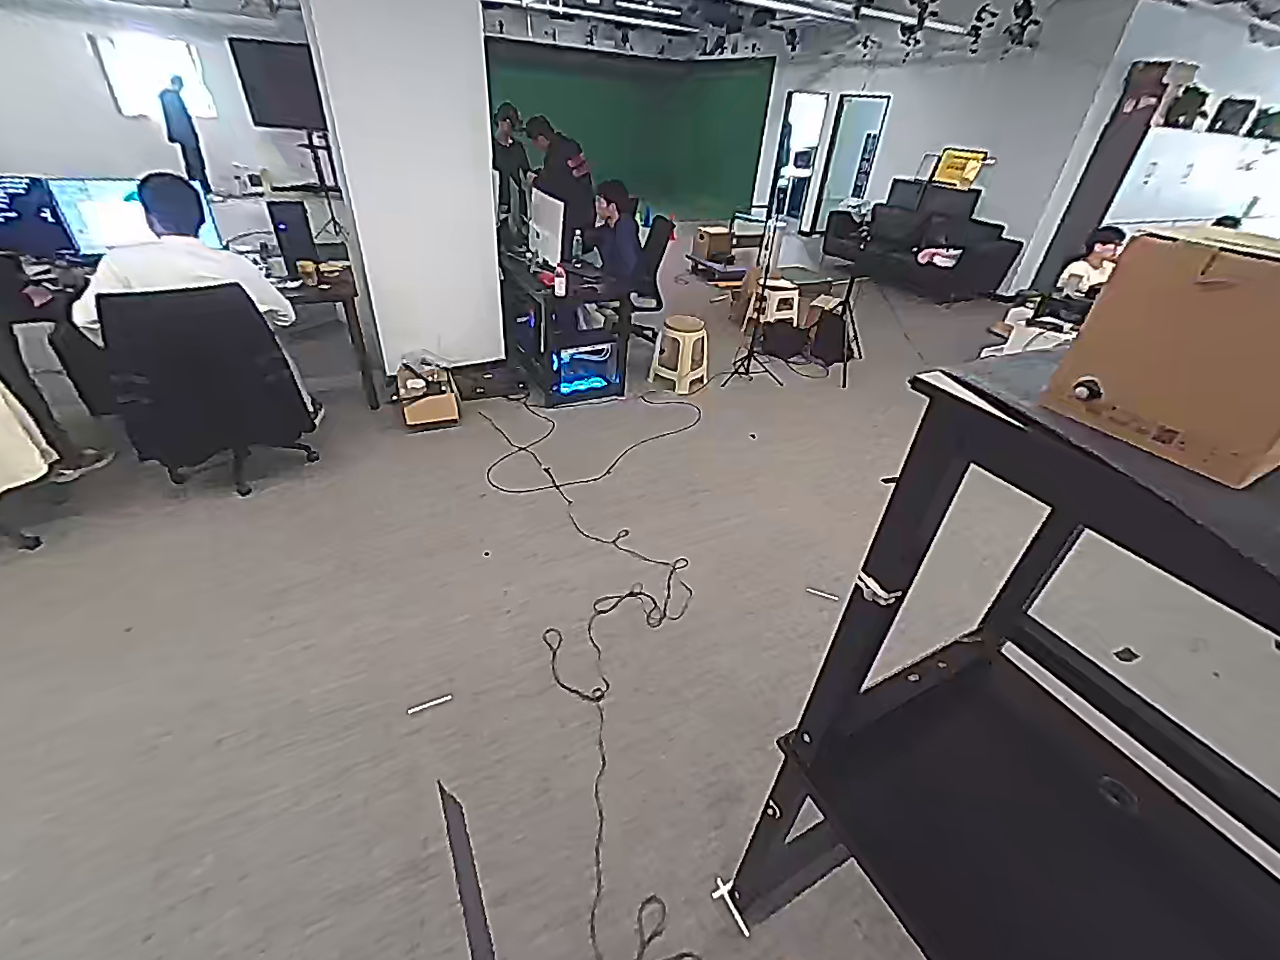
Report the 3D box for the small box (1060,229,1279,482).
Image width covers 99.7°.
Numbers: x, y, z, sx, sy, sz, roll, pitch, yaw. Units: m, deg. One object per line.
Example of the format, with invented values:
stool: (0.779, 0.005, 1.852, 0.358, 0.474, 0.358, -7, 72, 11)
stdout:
small box: (0.530, -0.117, 0.486, 0.179, 0.176, 0.168, -14, 40, -26)
